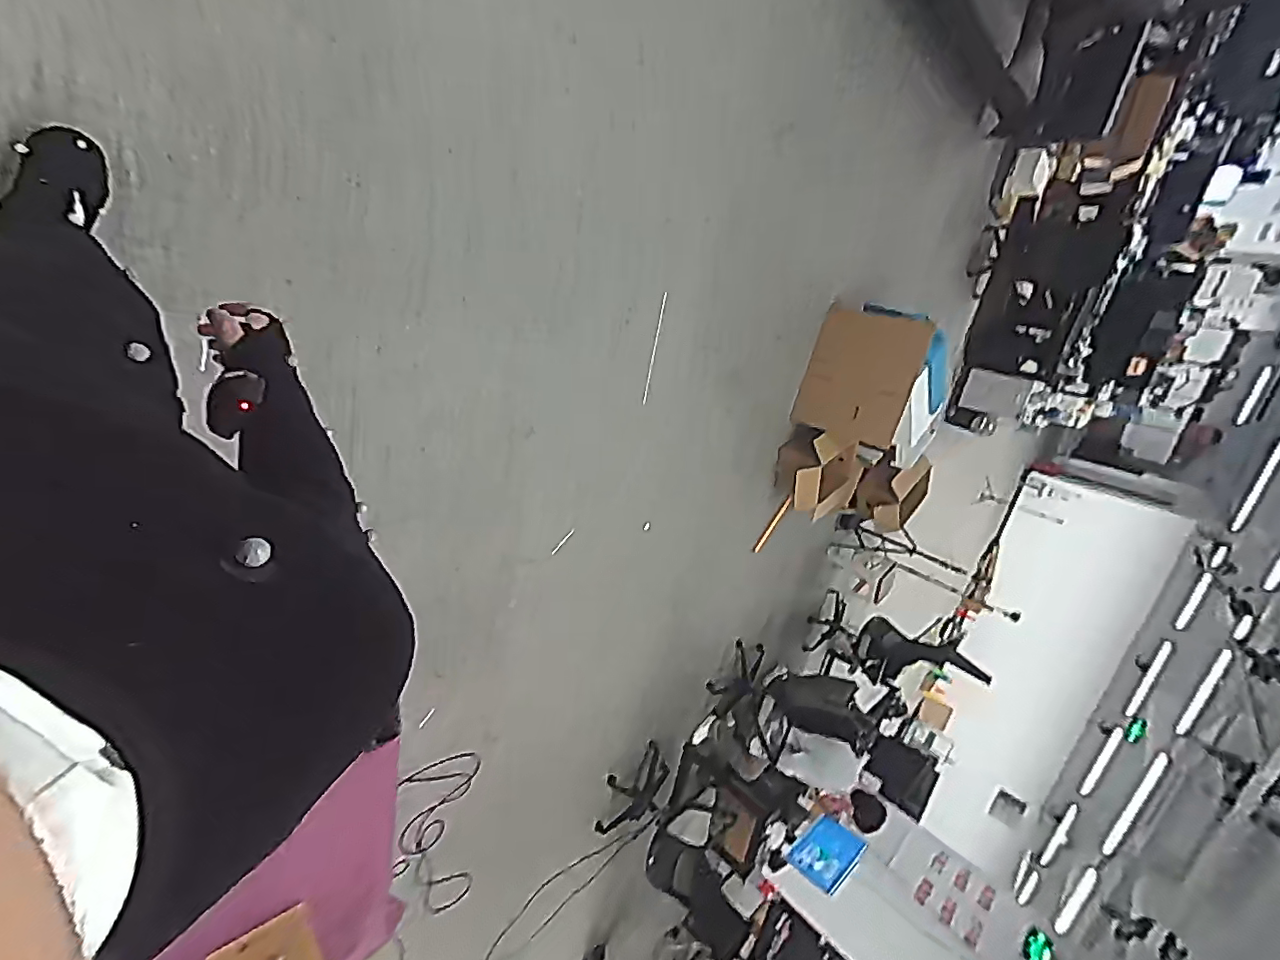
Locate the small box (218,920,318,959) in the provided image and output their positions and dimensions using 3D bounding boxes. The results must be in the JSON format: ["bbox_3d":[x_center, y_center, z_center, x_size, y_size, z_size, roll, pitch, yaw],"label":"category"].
[{"bbox_3d":[-0.723,1.007,1.041,0.168,0.176,0.179,-9,117,-45],"label":"small box"}]
